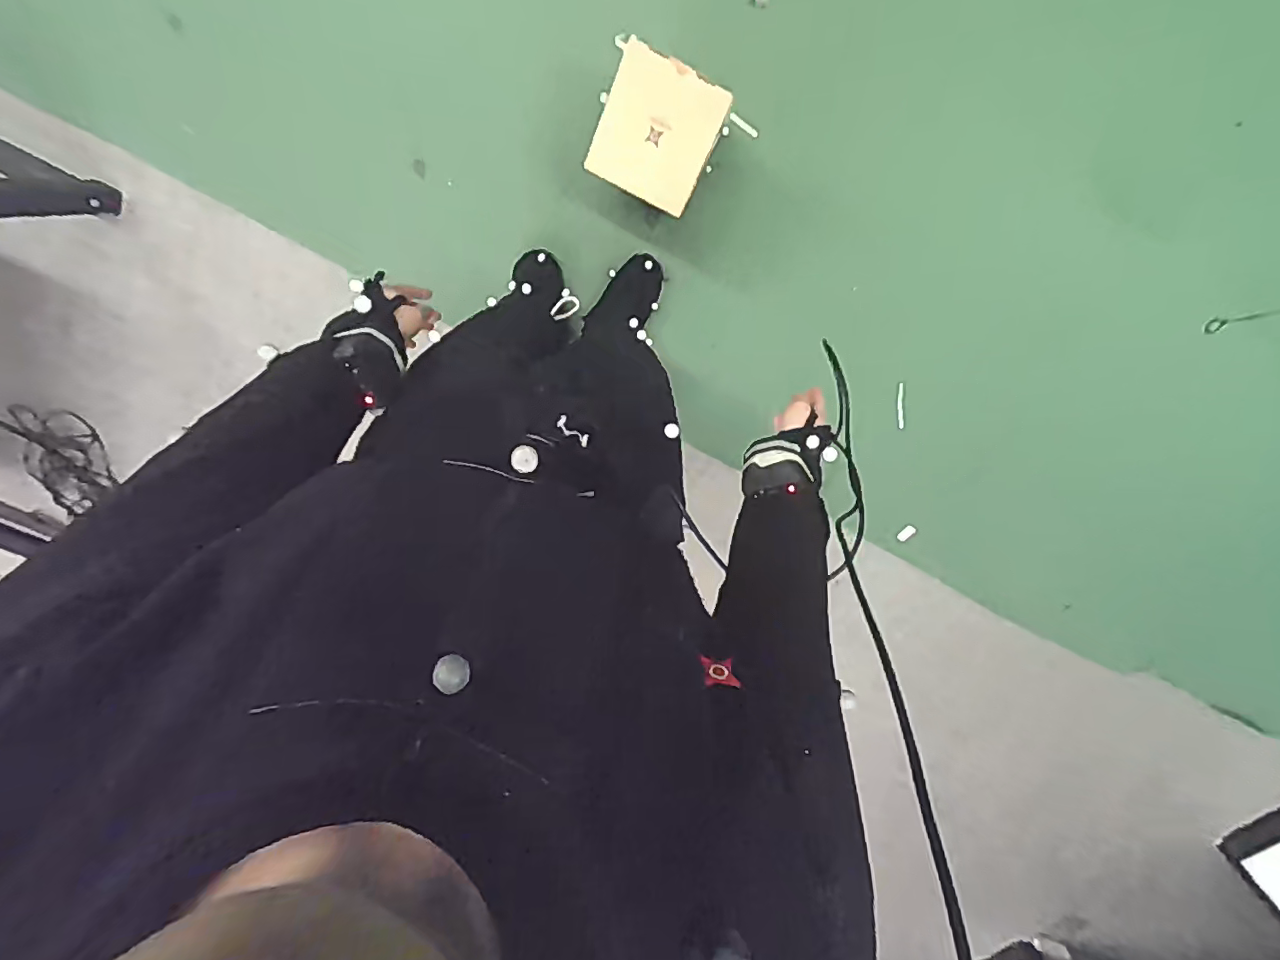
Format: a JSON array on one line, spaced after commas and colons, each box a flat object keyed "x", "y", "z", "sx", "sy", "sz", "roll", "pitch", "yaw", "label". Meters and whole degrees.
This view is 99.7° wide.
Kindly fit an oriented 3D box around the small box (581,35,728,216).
[{"x": 0.024, "y": -0.547, "z": 0.859, "sx": 0.168, "sy": 0.176, "sz": 0.179, "roll": 24, "pitch": 117, "yaw": -9, "label": "small box"}]
